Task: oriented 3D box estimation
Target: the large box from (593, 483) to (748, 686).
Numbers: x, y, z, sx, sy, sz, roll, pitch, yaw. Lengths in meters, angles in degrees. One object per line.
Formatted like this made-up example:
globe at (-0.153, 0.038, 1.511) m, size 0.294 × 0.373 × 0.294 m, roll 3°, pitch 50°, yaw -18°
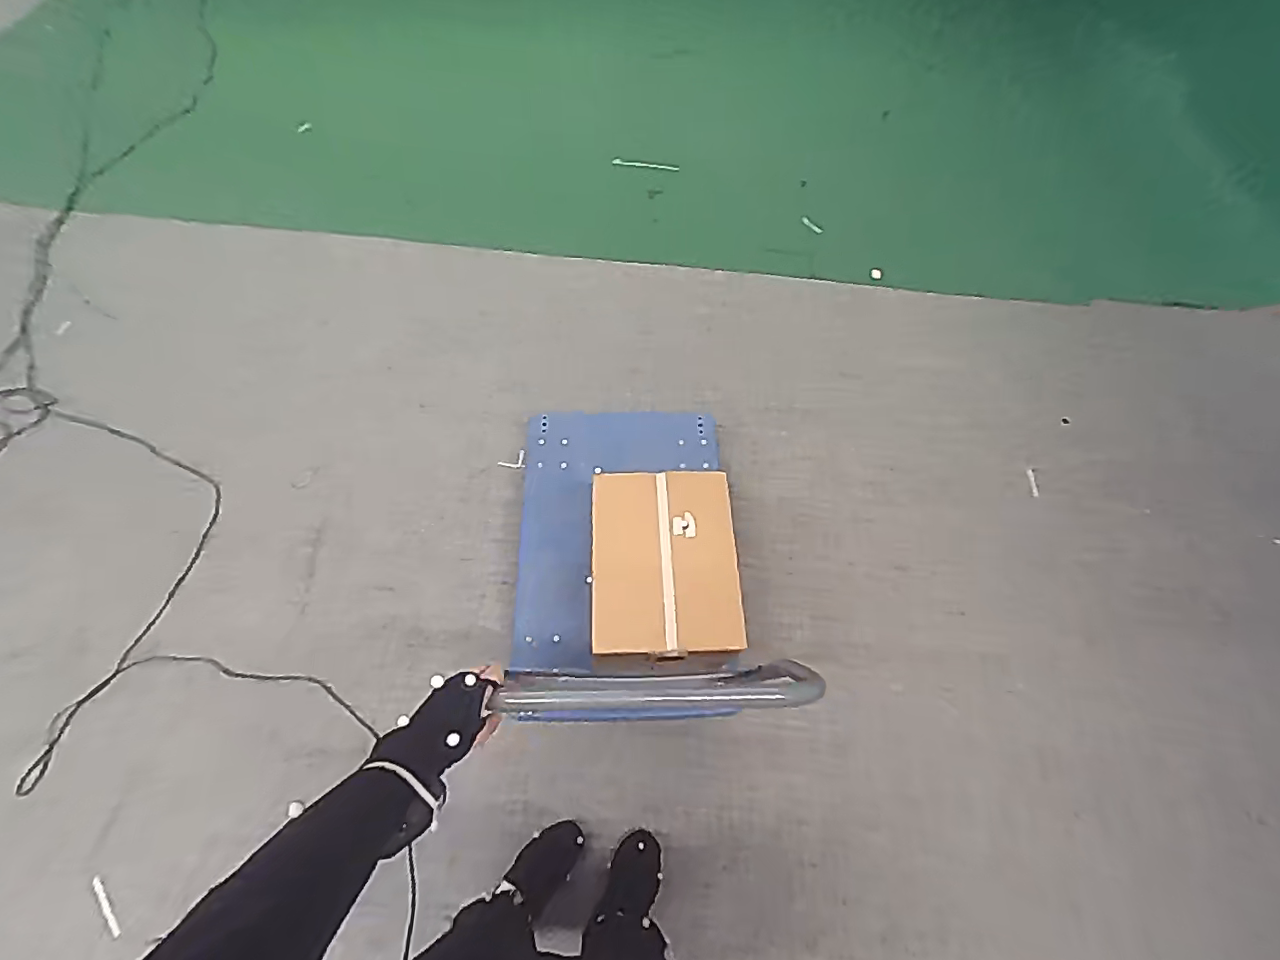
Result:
large box at (0.049, 0.255, 1.290) m, size 0.320 × 0.320 × 0.408 m, roll 0°, pitch 61°, yaw -4°
